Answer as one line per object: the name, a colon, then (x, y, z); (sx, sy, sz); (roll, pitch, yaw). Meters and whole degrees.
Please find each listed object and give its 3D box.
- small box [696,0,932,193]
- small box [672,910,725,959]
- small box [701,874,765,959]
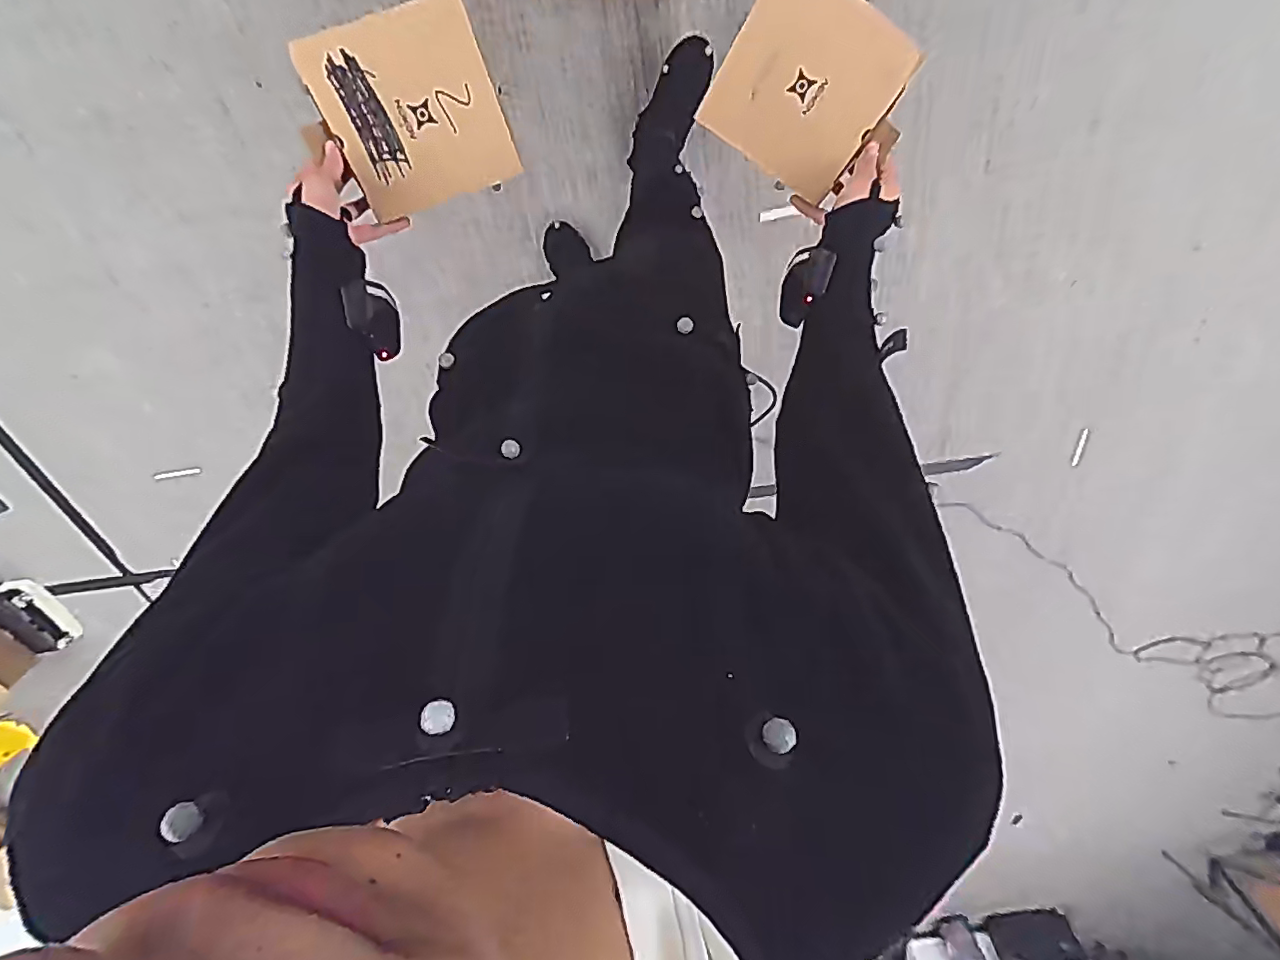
small box: (0.186, -0.468, 0.616); (0.179, 0.176, 0.168); (30, 126, -11)
small box: (0.201, 1.618, 1.862); (0.168, 0.176, 0.179); (-3, 121, -1)
small box: (0.291, 1.369, 1.705); (0.168, 0.176, 0.179); (-9, 123, 3)
